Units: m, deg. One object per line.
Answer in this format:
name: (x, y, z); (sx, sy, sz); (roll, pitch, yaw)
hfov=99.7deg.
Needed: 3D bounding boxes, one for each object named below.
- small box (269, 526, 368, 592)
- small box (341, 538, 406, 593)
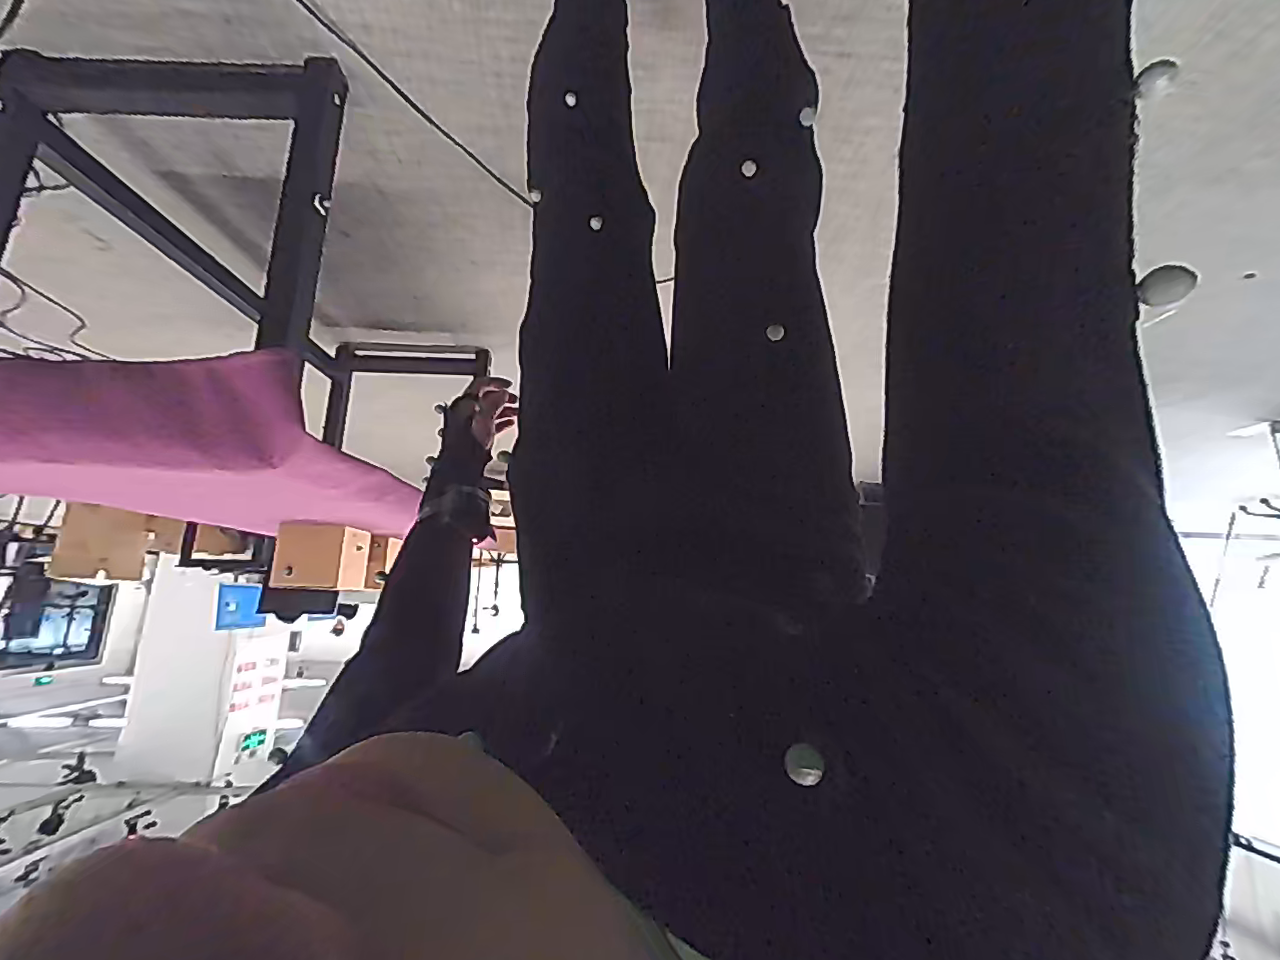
small box: (-0.877, 0.220, 1.491); (0.179, 0.176, 0.168); (1, 168, -4)
small box: (-0.871, 0.276, 1.741); (0.168, 0.176, 0.179); (2, 168, -3)
